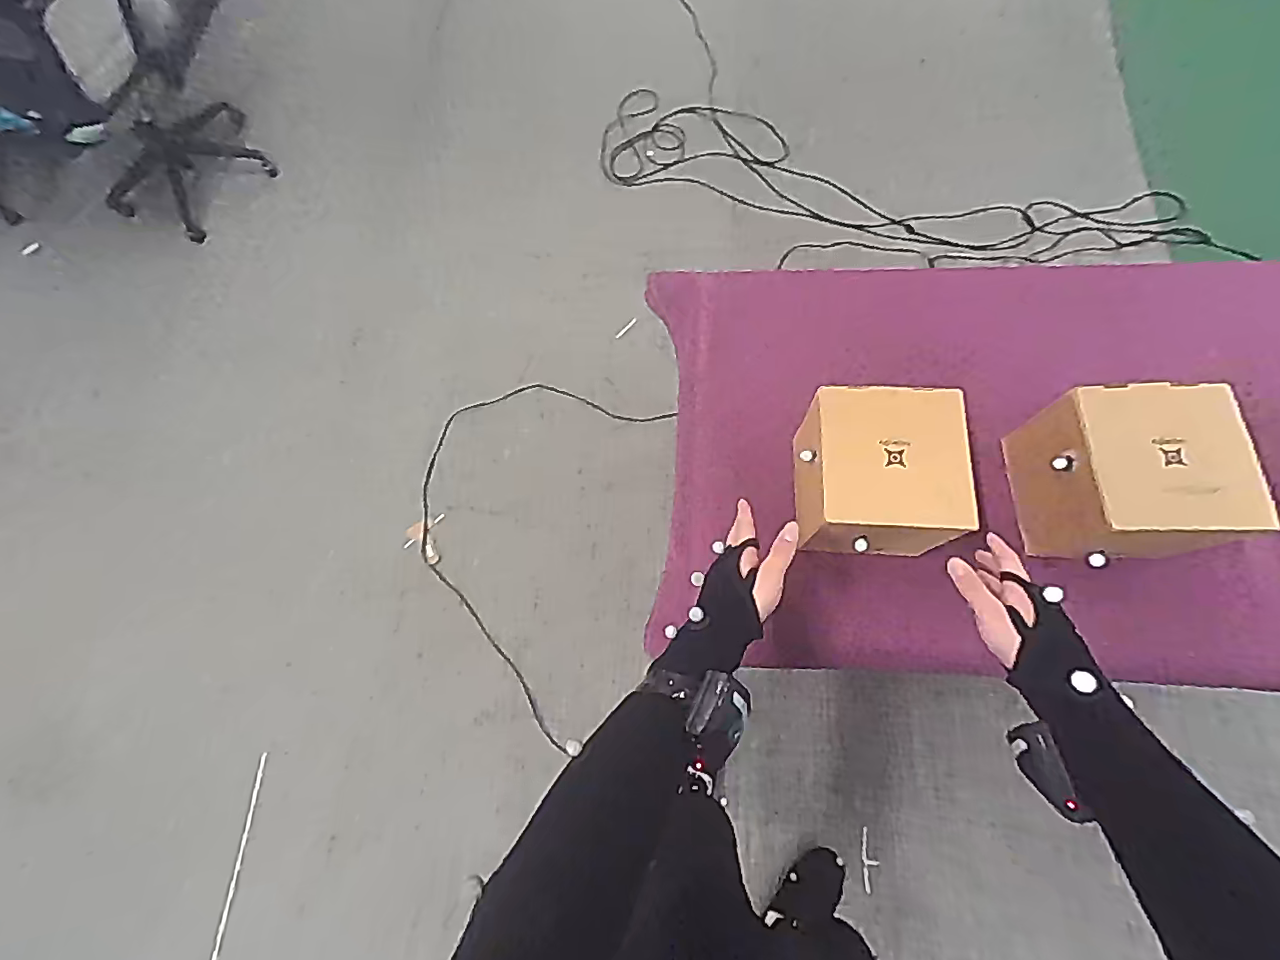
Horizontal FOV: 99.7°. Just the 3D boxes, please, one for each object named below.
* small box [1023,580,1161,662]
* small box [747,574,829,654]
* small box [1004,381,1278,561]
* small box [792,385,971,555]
[{"bbox_3d":[1.046,0.335,1.268,0.168,0.176,0.179,-1,70,5],"label":"small box"},{"bbox_3d":[0.361,0.335,1.339,0.179,0.176,0.168,4,71,7],"label":"small box"},{"bbox_3d":[0.584,-0.004,0.664,0.168,0.176,0.179,0,71,7],"label":"small box"},{"bbox_3d":[0.293,-0.004,0.694,0.168,0.176,0.179,2,71,7],"label":"small box"}]
